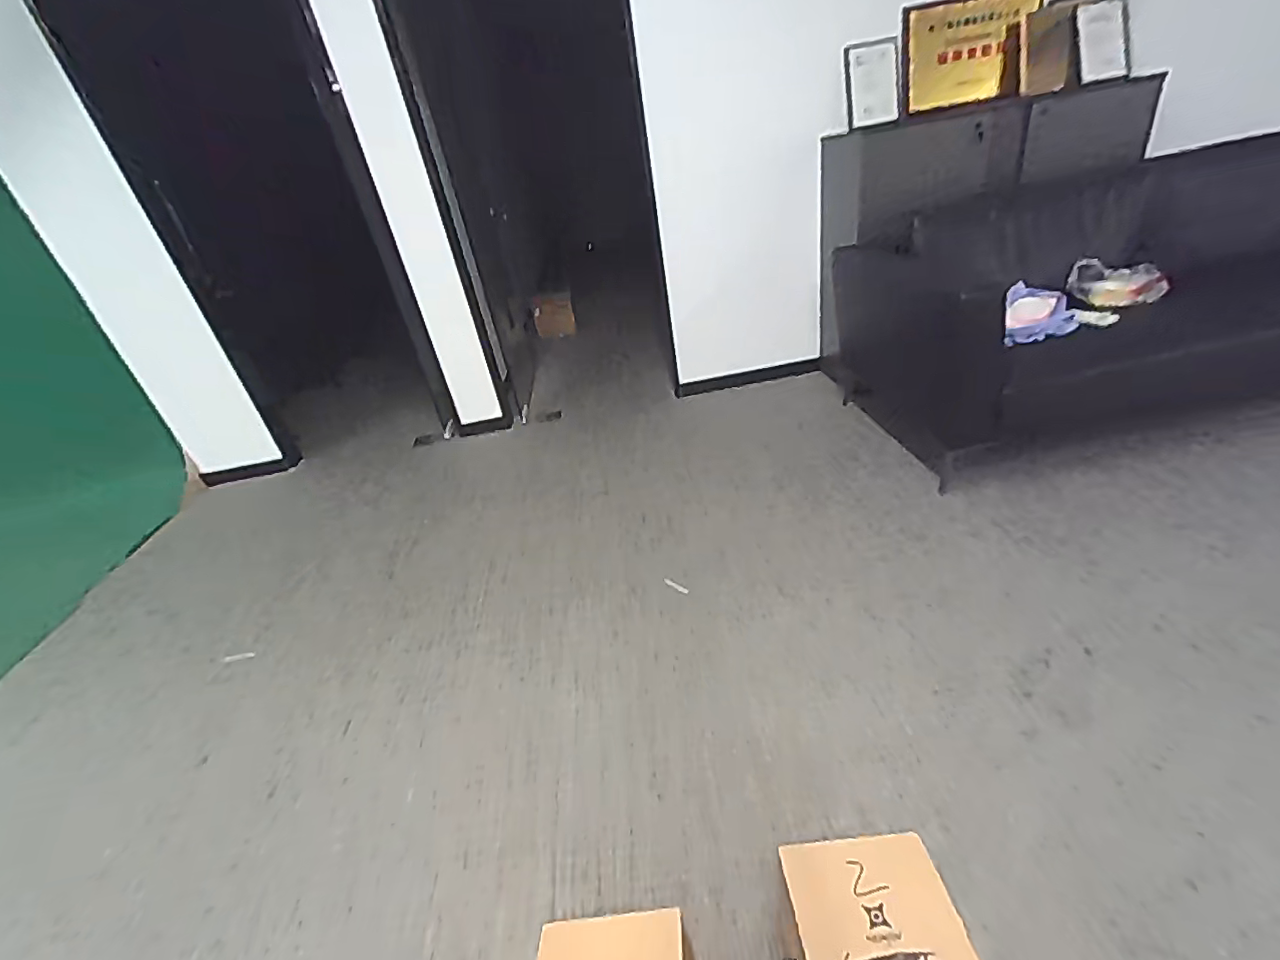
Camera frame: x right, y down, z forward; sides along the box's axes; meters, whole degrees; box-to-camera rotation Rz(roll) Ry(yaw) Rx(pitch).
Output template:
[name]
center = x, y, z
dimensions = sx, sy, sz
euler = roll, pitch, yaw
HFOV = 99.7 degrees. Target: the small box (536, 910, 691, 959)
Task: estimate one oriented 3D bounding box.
[small box]
center = -0.021, 0.606, 0.567
dimensions = 0.168, 0.176, 0.179
euler = -12, 19, 5
